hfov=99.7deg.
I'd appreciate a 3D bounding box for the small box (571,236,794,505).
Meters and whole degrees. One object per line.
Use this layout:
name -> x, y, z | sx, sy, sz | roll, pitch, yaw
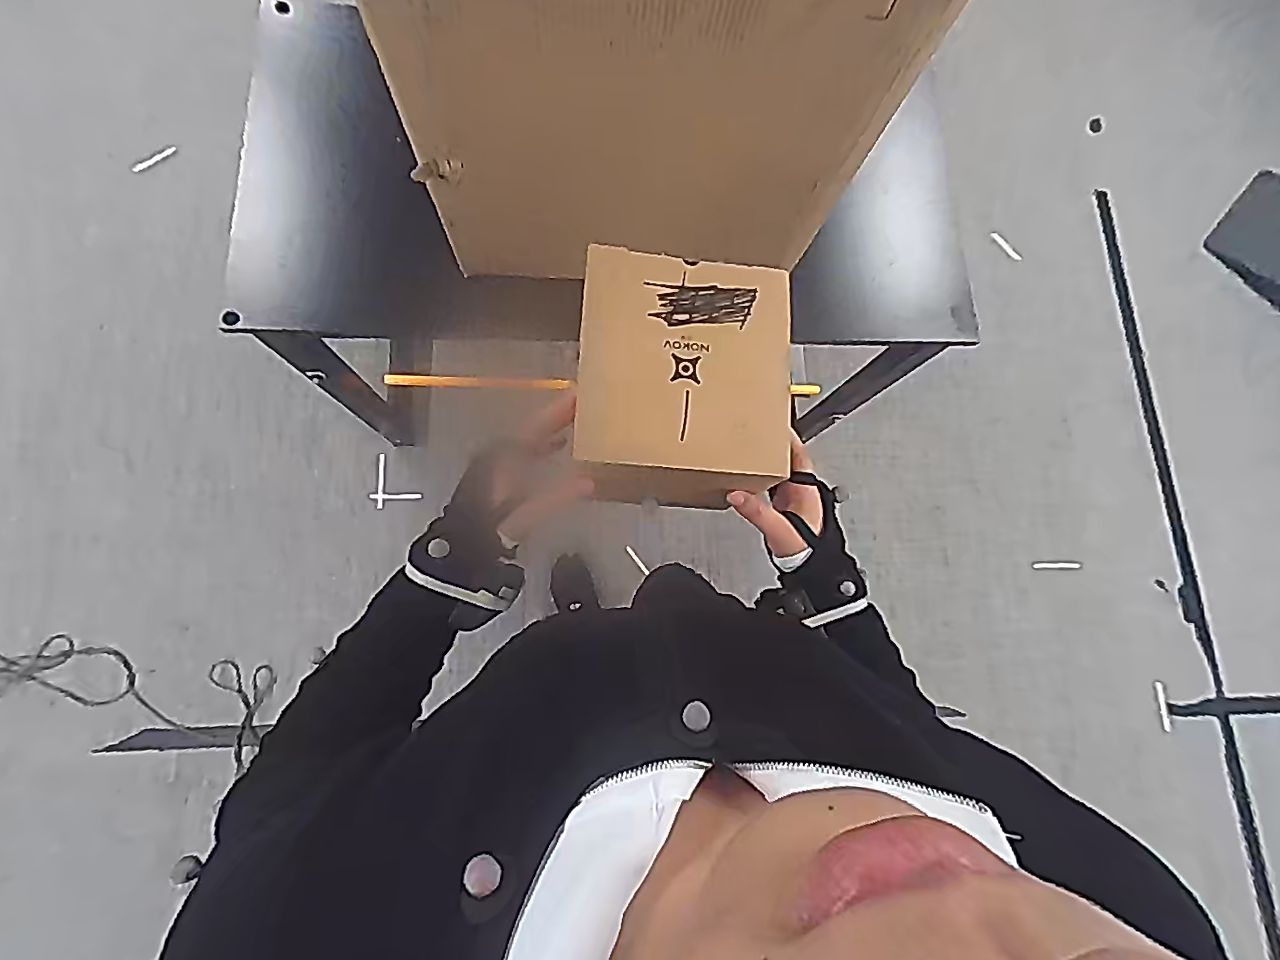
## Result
small box -> 0.027, -0.082, 0.489 | 0.168, 0.176, 0.179 | 5, 77, -7
